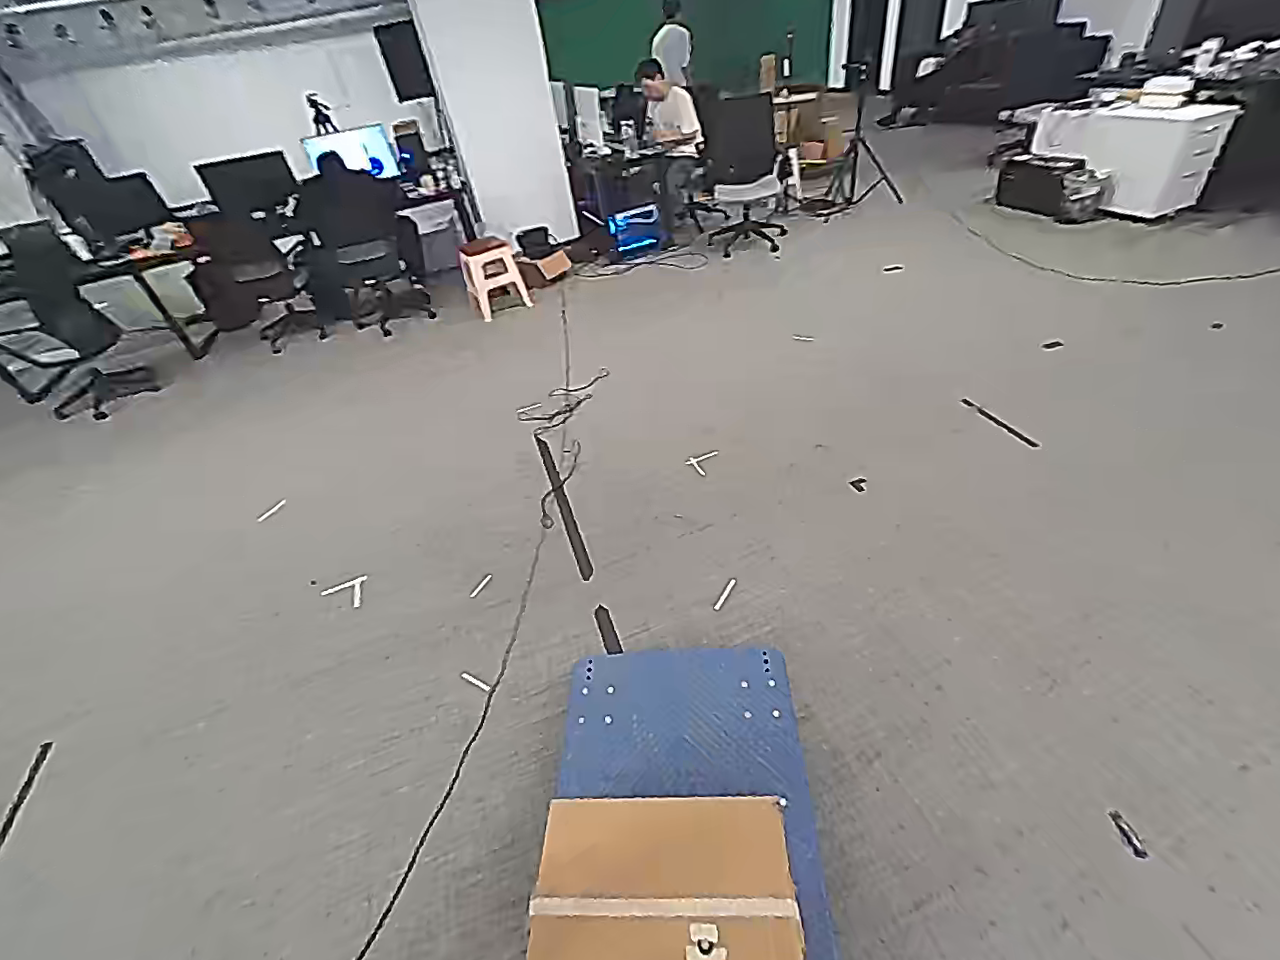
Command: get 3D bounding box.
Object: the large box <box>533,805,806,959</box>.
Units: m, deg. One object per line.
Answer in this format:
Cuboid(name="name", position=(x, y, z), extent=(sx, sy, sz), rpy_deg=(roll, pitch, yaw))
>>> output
Cuboid(name="large box", position=(0.056, 0.781, 0.905), extent=(0.408, 0.320, 0.320), rpy_deg=(-5, 39, 6))
